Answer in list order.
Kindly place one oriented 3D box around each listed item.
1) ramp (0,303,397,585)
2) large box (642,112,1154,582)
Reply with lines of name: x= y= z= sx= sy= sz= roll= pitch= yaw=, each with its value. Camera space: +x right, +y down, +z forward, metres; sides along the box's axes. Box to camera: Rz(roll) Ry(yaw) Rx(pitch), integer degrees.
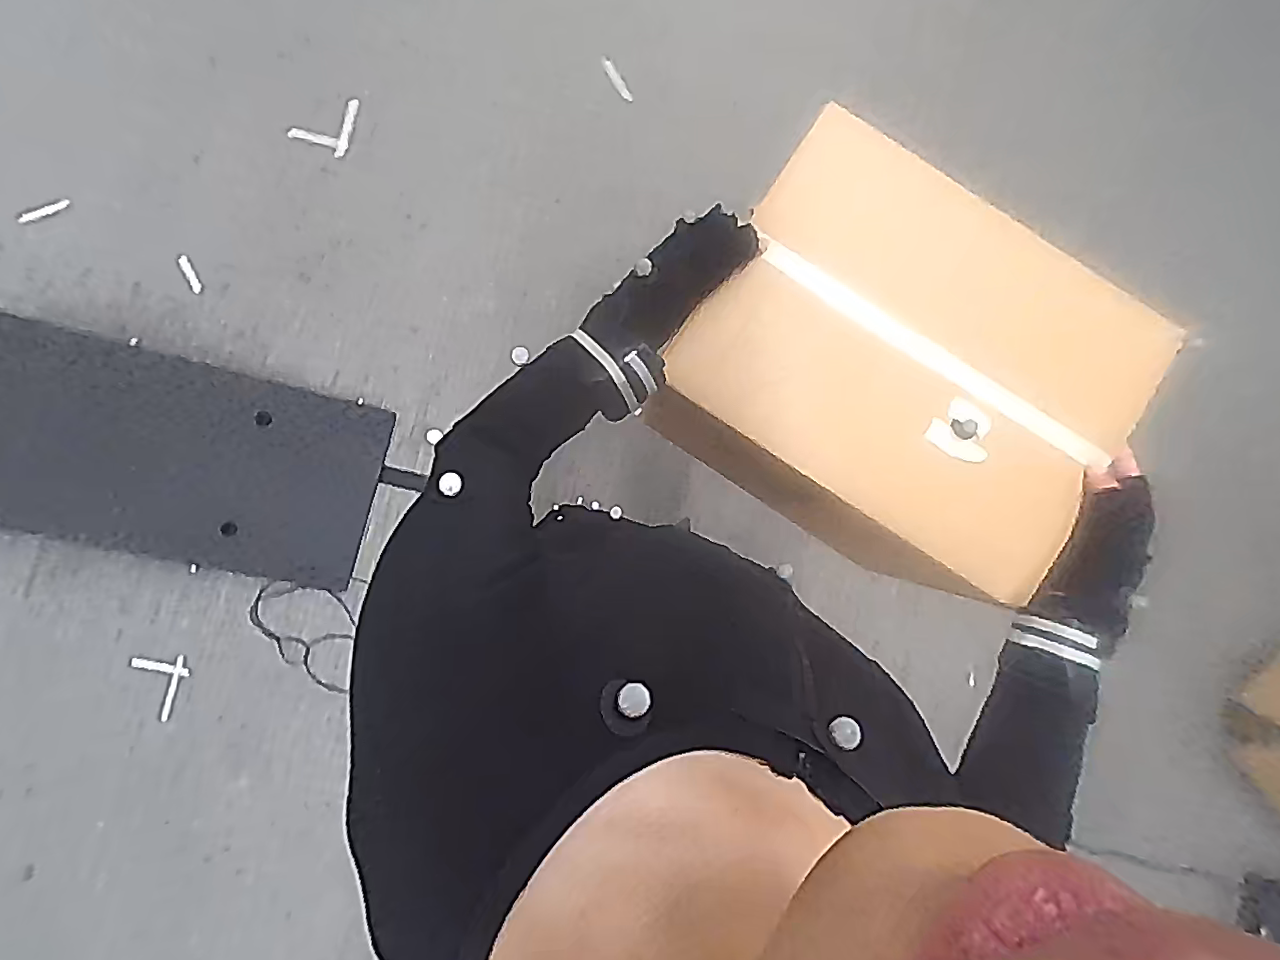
ramp: x=-1.176 y=-0.080 z=1.325 sx=0.991 sy=0.206 sz=0.509 roll=12 pitch=83 yaw=-5
large box: x=0.251 y=-0.125 z=0.666 sx=0.408 sy=0.320 sz=0.320 roll=32 pitch=88 yaw=-1
